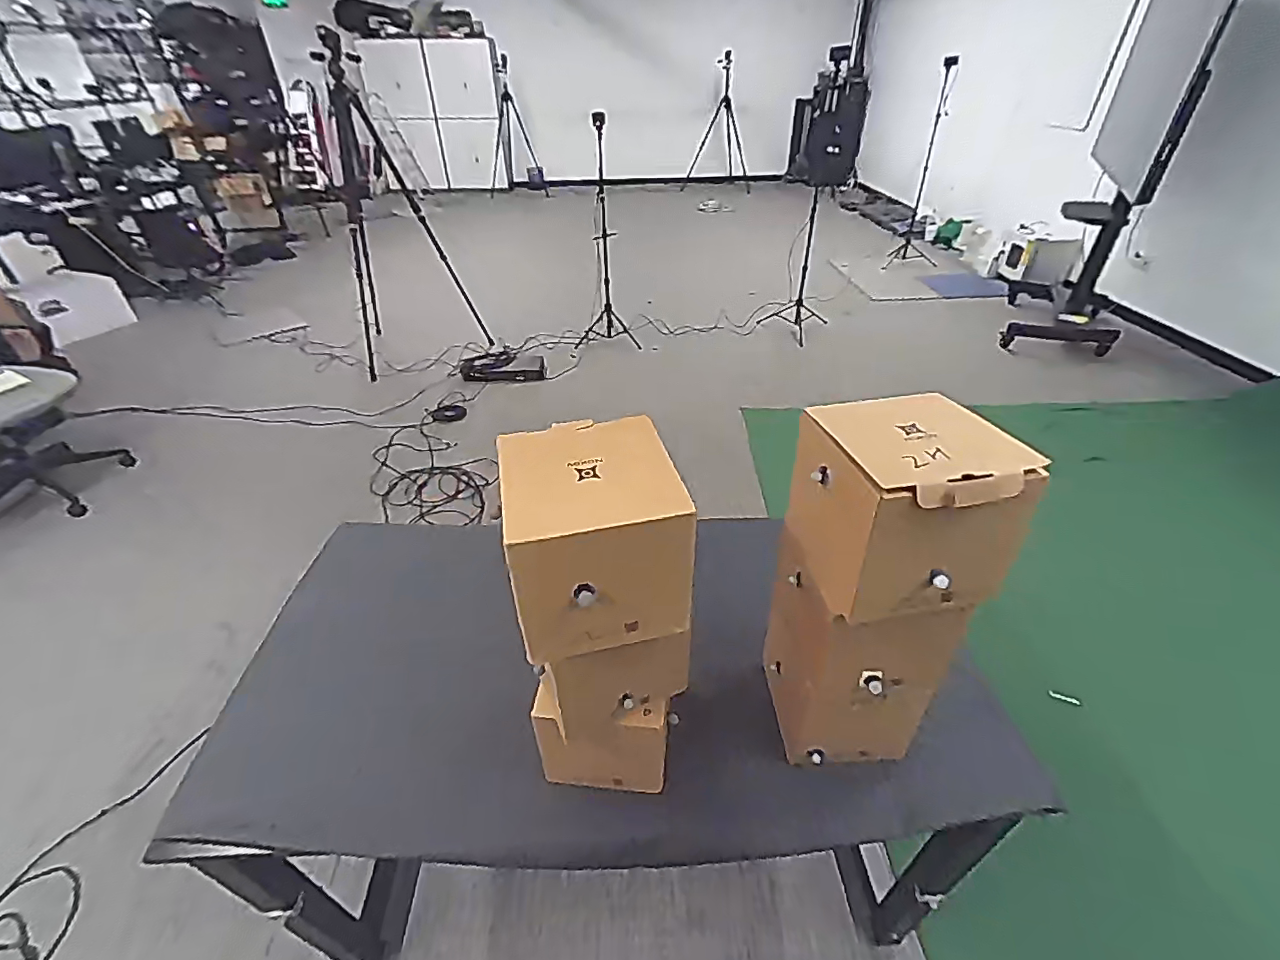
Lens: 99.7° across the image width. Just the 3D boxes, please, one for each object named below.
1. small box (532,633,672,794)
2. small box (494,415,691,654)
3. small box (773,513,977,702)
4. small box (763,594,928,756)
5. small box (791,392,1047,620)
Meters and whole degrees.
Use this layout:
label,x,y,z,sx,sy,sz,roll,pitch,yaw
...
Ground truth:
label,x,y,z,sx,sy,sz,roll,pitch,yaw
small box,-0.044,0.309,0.768,0.168,0.176,0.179,3,36,6
small box,-0.050,0.057,0.559,0.168,0.176,0.179,-10,38,-11
small box,0.279,0.153,0.693,0.168,0.176,0.179,-6,37,-3
small box,0.284,0.283,0.790,0.168,0.176,0.179,-3,34,-1
small box,0.277,0.023,0.590,0.168,0.176,0.179,-8,36,-5
